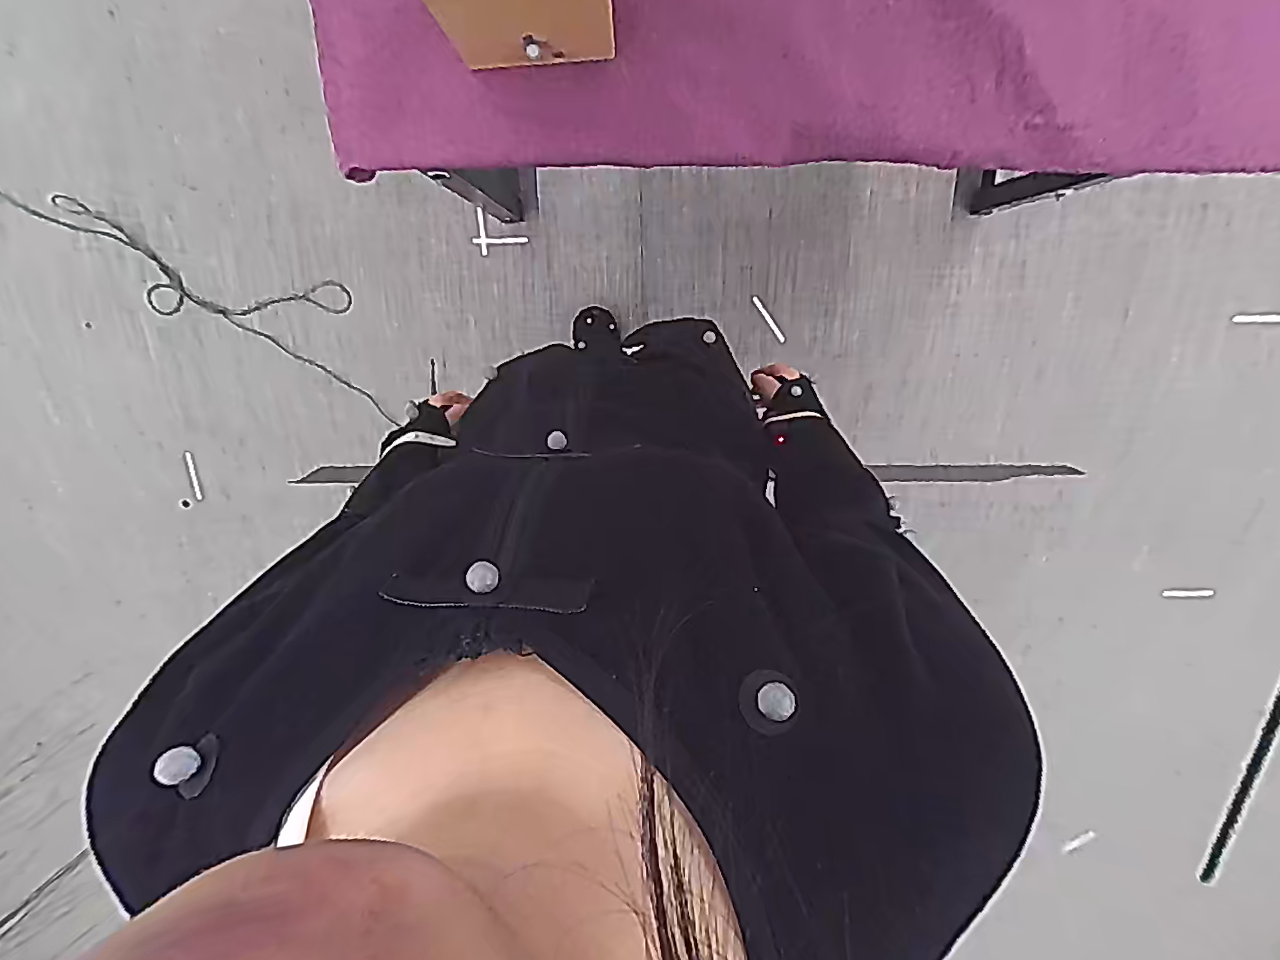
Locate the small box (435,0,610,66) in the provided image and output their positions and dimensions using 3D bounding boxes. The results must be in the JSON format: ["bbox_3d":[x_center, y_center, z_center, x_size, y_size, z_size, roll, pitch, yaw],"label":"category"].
[{"bbox_3d":[-0.118,-0.527,0.502,0.168,0.176,0.179,-4,107,1],"label":"small box"}]
